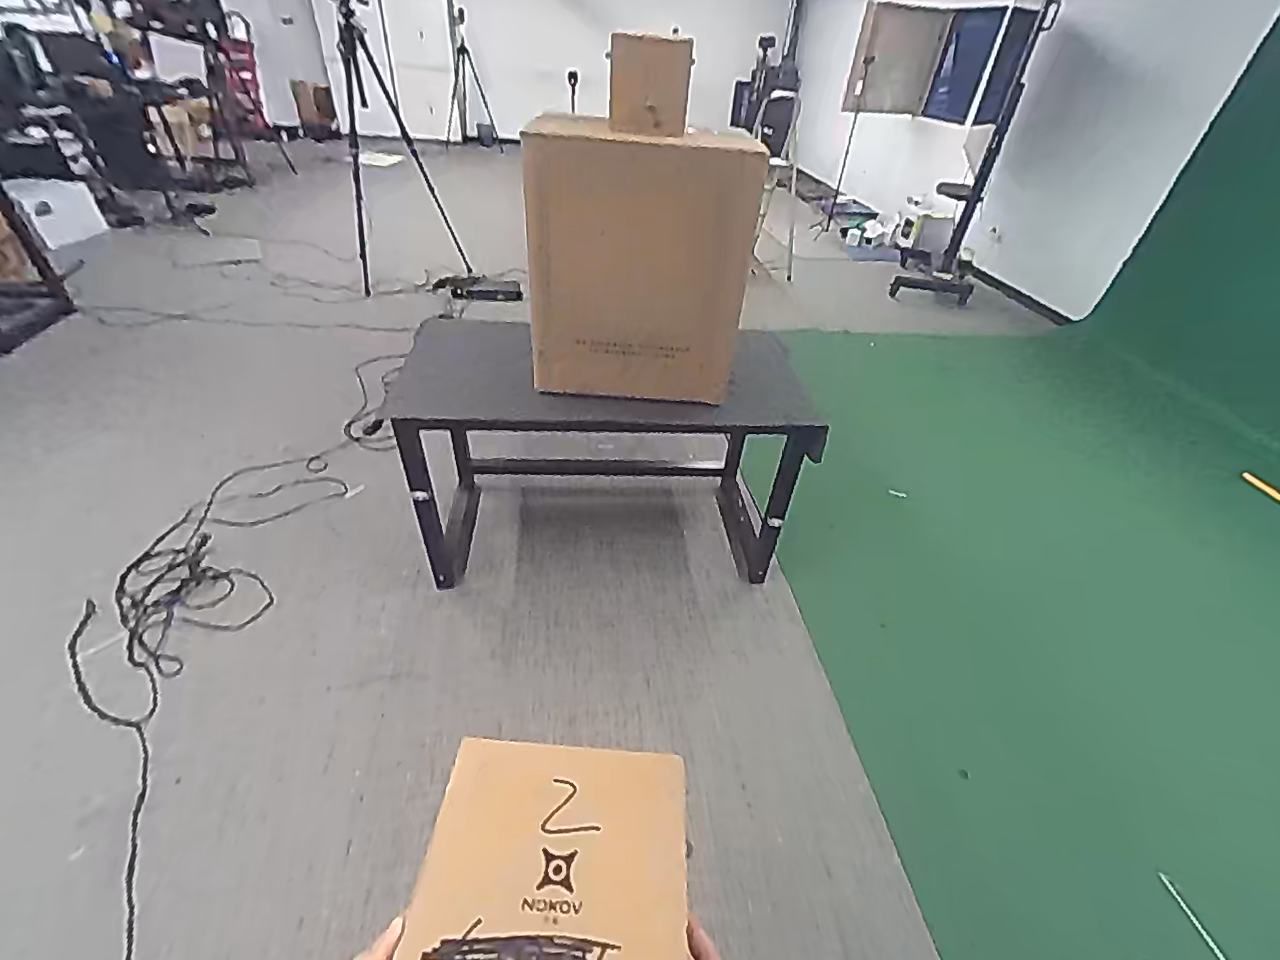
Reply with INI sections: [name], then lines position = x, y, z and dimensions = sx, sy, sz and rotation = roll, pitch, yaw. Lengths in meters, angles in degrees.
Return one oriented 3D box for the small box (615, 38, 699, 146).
[small box]
position = 0.031, -0.857, 1.194
dimensions = 0.168, 0.176, 0.179
rotation = 3, 41, -3
